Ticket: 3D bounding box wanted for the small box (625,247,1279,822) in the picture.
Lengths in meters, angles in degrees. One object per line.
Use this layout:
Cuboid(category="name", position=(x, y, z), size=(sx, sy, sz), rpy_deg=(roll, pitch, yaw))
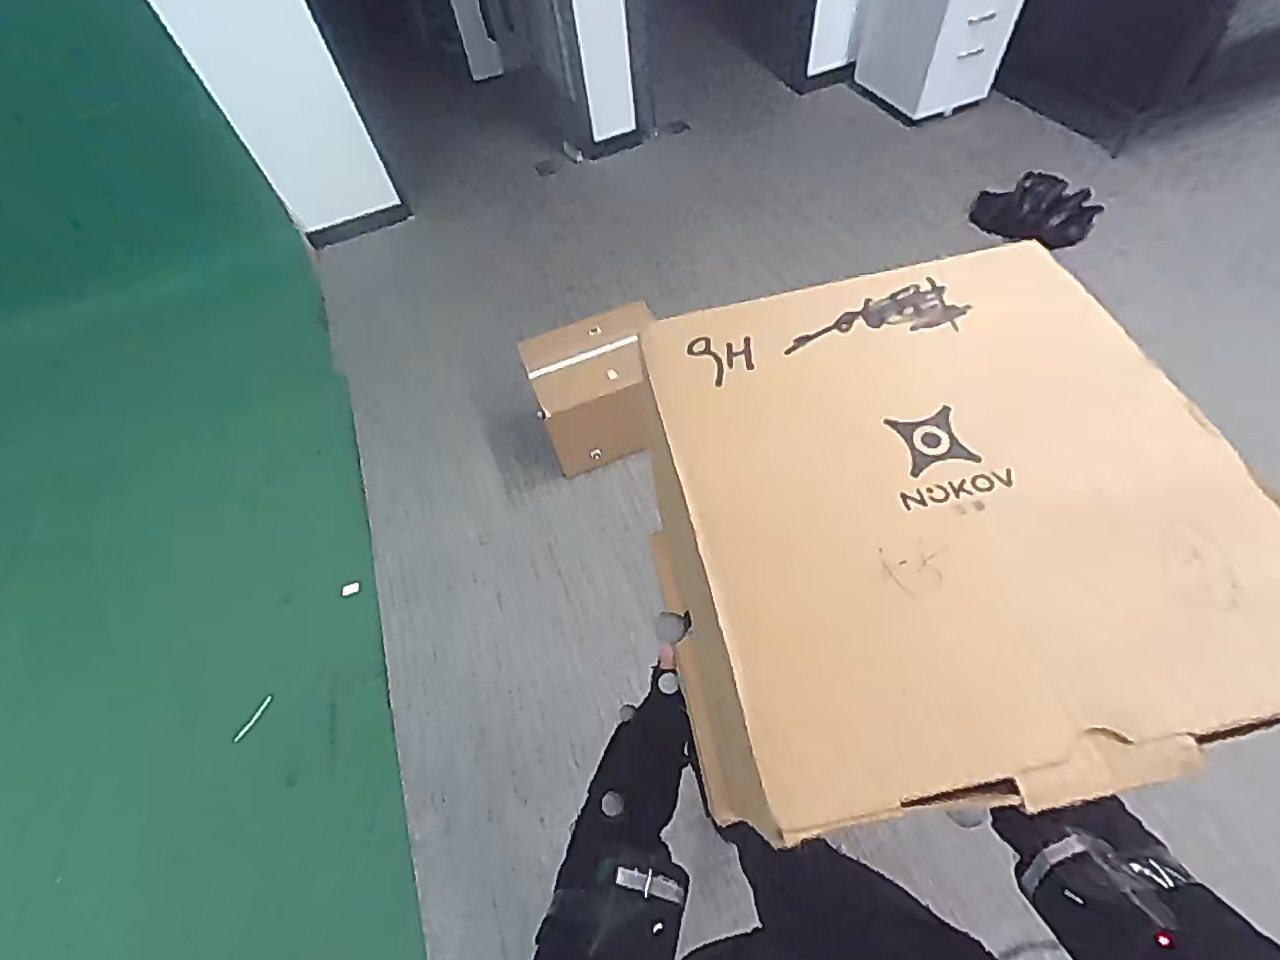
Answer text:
Cuboid(category="small box", position=(0.096, 0.033, 0.250), size=(0.168, 0.176, 0.179), rpy_deg=(-12, 62, -1))
